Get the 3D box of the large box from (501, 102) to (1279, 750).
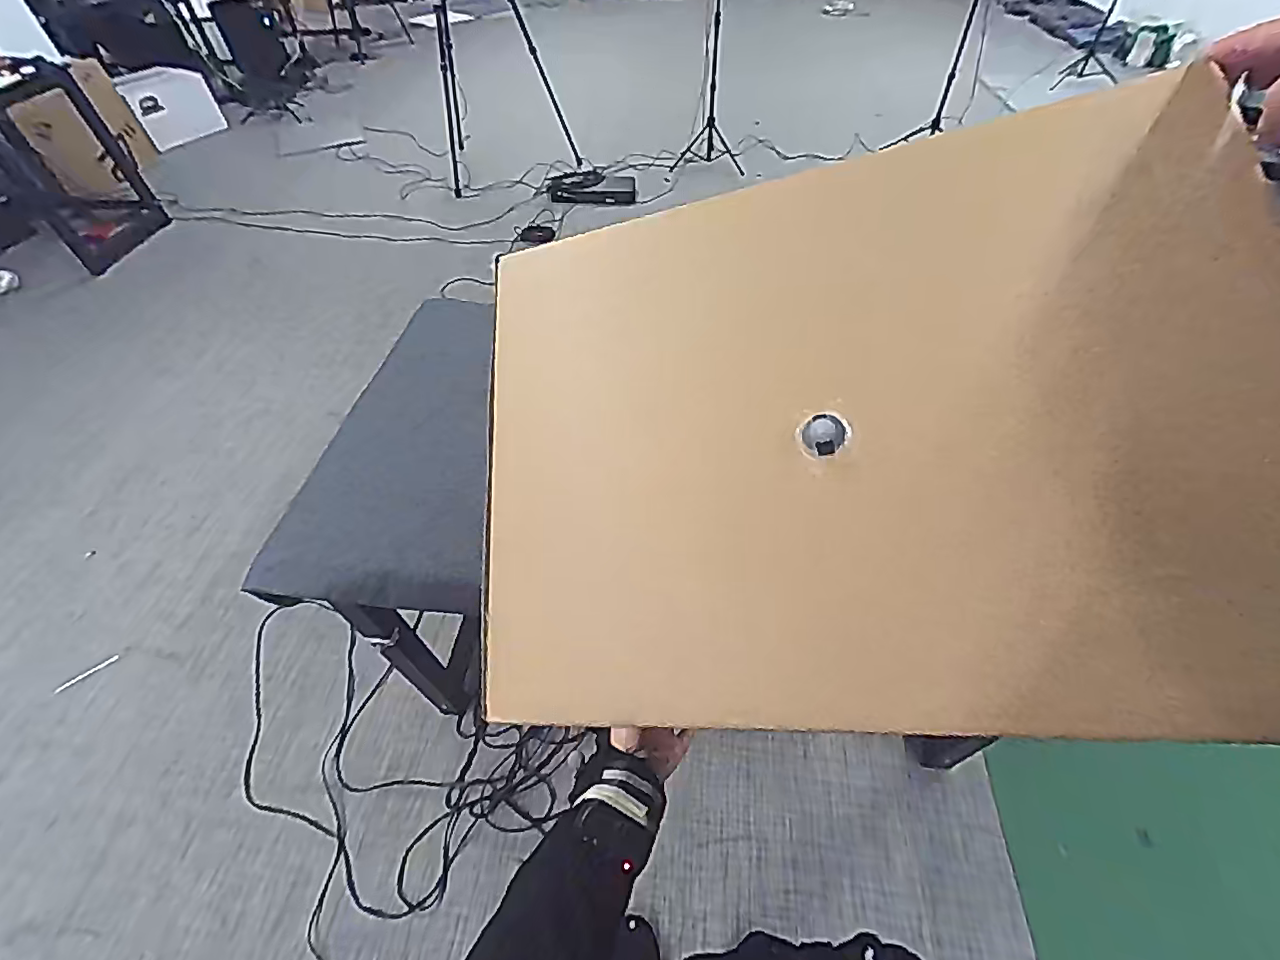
[{"bbox_3d":[0.146,0.009,0.429,0.408,0.320,0.320,-8,74,16],"label":"large box"}]
